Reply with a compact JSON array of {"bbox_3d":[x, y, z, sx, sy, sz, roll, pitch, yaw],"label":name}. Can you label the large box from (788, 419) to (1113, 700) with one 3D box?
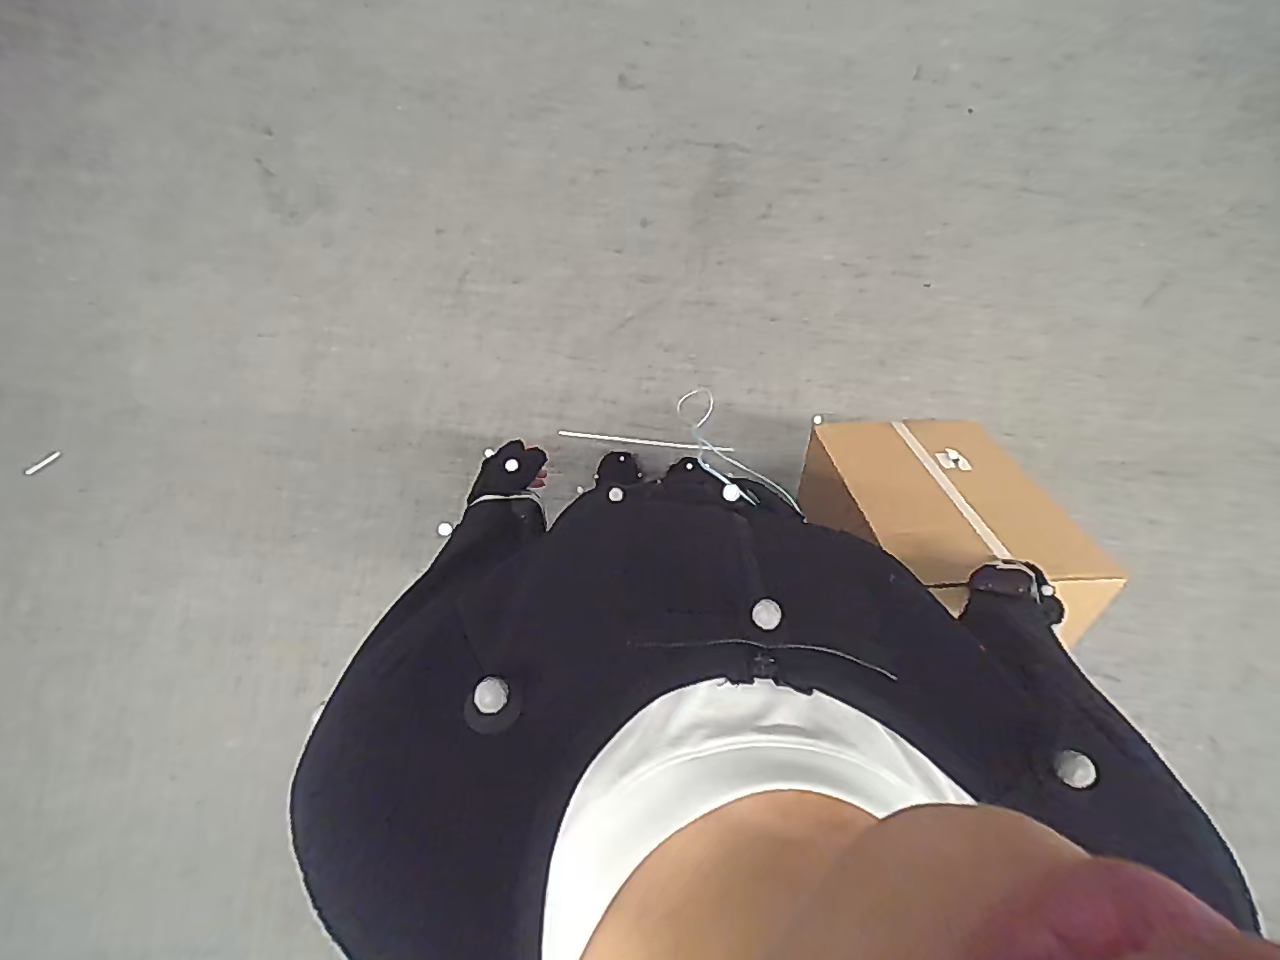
[{"bbox_3d":[0.492,0.129,0.981,0.320,0.408,0.320,-1,128,-3],"label":"large box"}]
